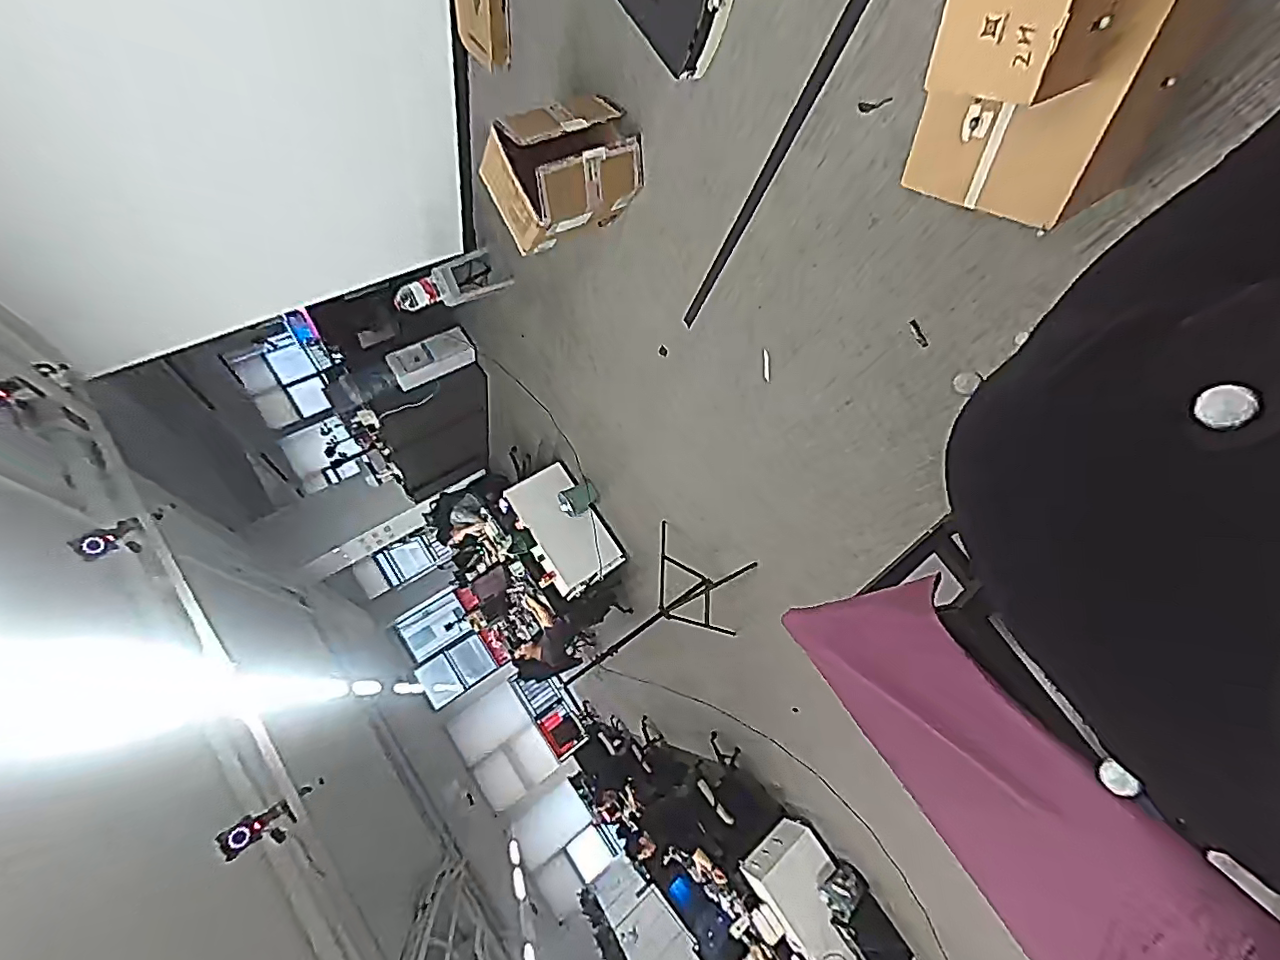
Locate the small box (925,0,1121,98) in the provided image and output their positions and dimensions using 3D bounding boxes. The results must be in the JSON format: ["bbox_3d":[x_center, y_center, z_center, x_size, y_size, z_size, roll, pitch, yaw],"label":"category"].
[{"bbox_3d":[0.566,-0.684,0.787,0.179,0.176,0.168,41,153,34],"label":"small box"}]

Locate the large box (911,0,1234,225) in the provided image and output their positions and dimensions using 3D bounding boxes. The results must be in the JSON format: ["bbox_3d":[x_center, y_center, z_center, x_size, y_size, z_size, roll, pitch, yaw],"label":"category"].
[{"bbox_3d":[0.761,-0.743,0.953,0.320,0.320,0.408,43,154,33],"label":"large box"}]
